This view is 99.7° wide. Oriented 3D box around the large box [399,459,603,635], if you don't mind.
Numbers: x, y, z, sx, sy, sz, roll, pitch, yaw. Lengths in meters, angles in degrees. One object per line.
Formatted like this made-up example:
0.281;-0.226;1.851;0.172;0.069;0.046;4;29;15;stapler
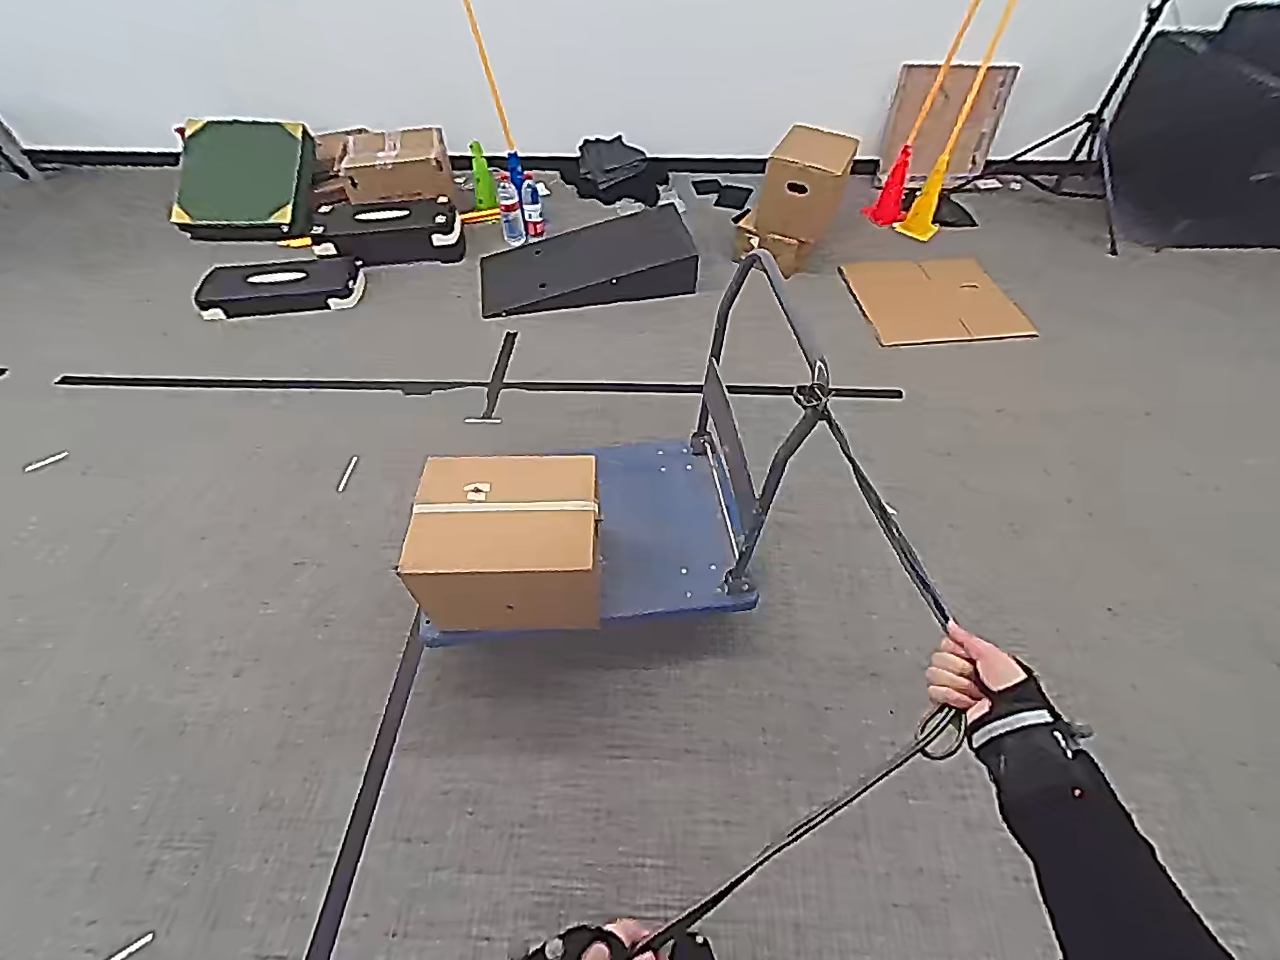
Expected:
-0.298;0.168;1.311;0.408;0.320;0.320;-2;51;-1;large box
